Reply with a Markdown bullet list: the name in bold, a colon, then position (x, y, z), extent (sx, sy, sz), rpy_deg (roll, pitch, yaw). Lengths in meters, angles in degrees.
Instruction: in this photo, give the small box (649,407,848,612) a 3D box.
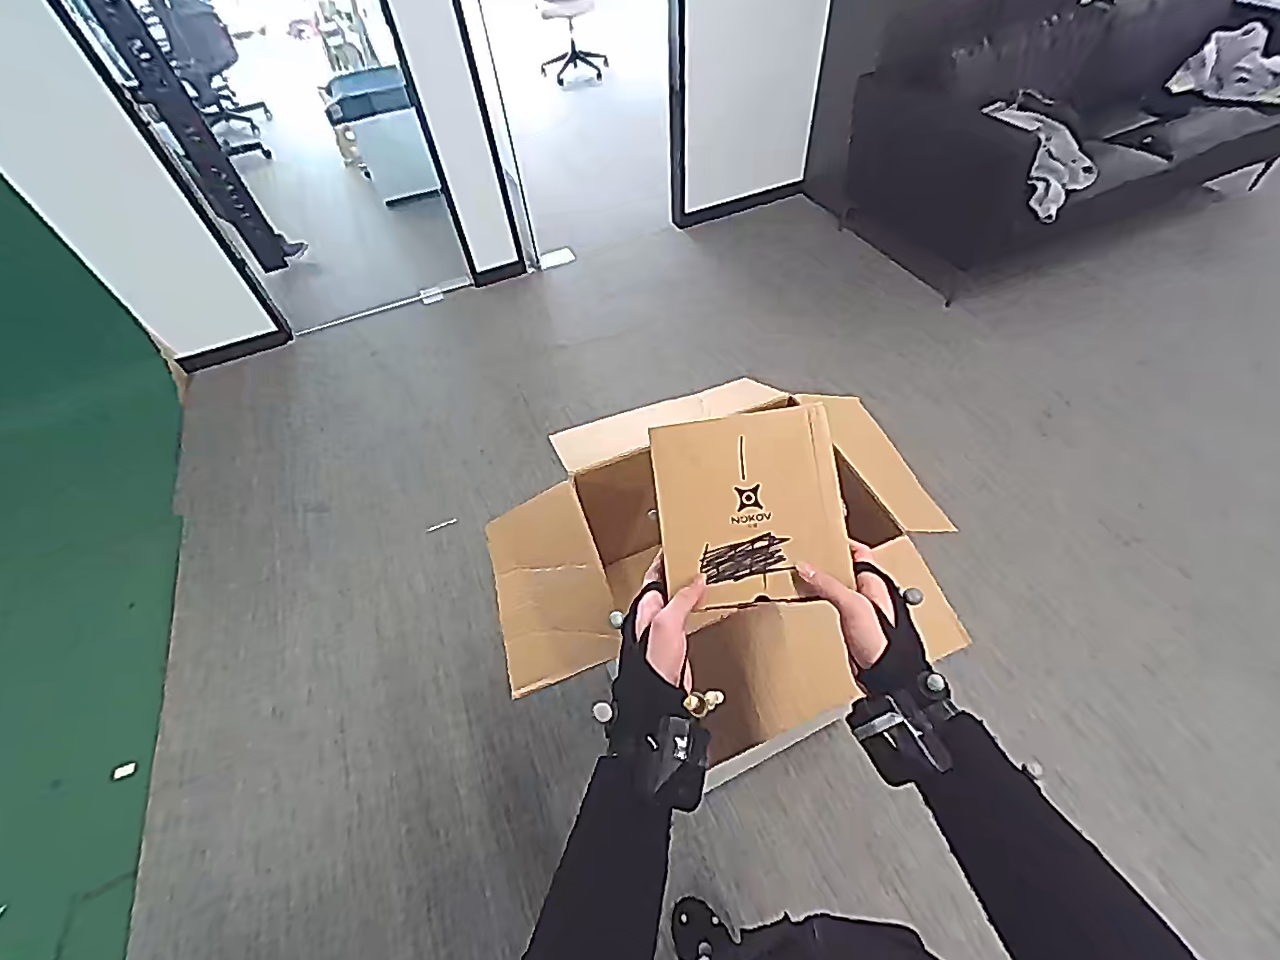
- **small box**: position (0.104, 0.037, 0.571), extent (0.168, 0.176, 0.179), rpy_deg (-6, 81, 4)
